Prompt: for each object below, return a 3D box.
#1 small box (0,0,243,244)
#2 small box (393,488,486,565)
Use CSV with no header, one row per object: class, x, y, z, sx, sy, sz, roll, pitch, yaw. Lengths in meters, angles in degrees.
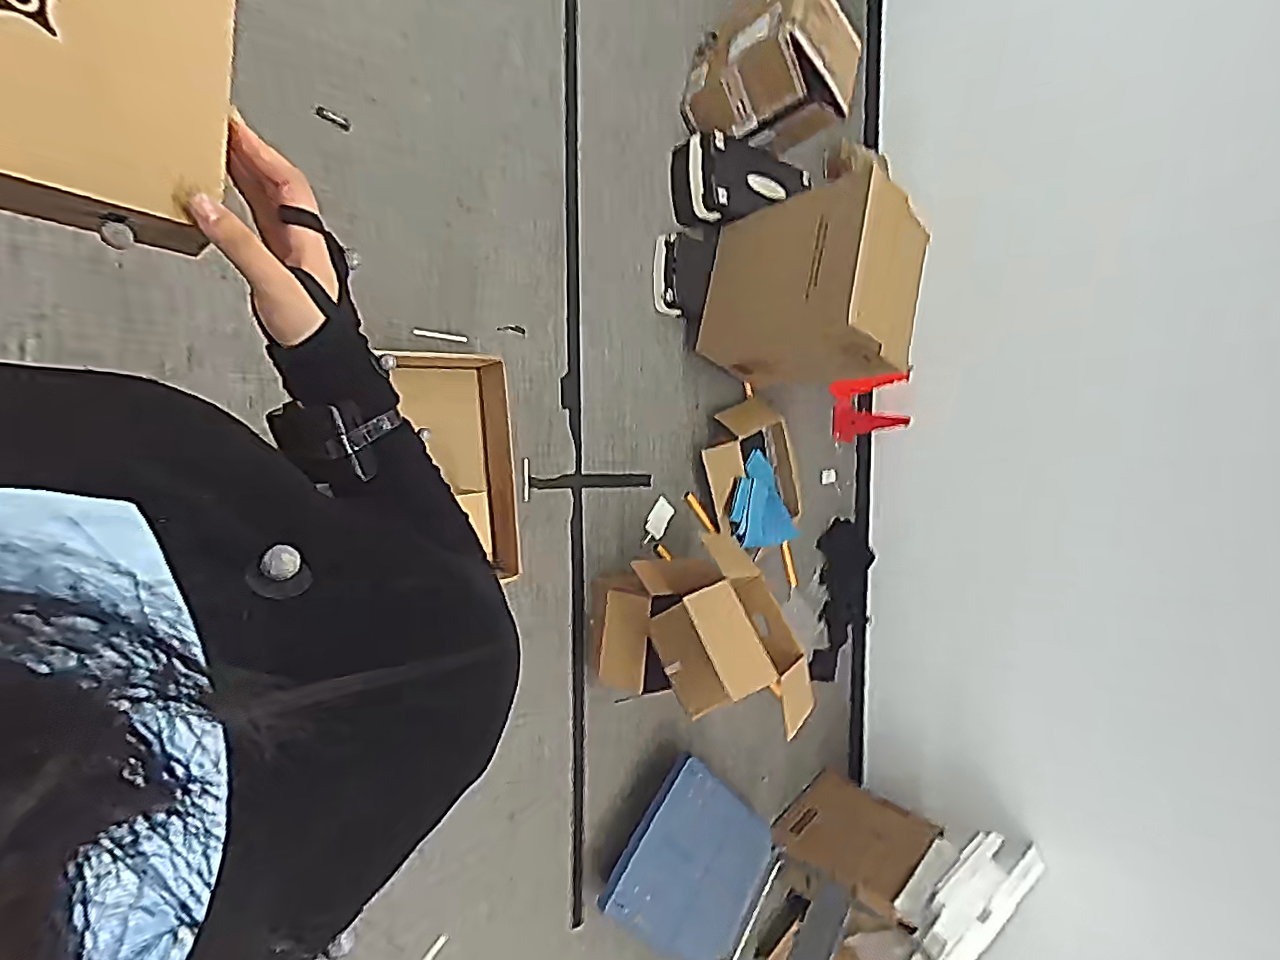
small box,-0.347,-0.245,0.304,0.179,0.176,0.168,2,101,-44
small box,-0.525,0.114,1.416,0.179,0.176,0.168,-8,97,-40
